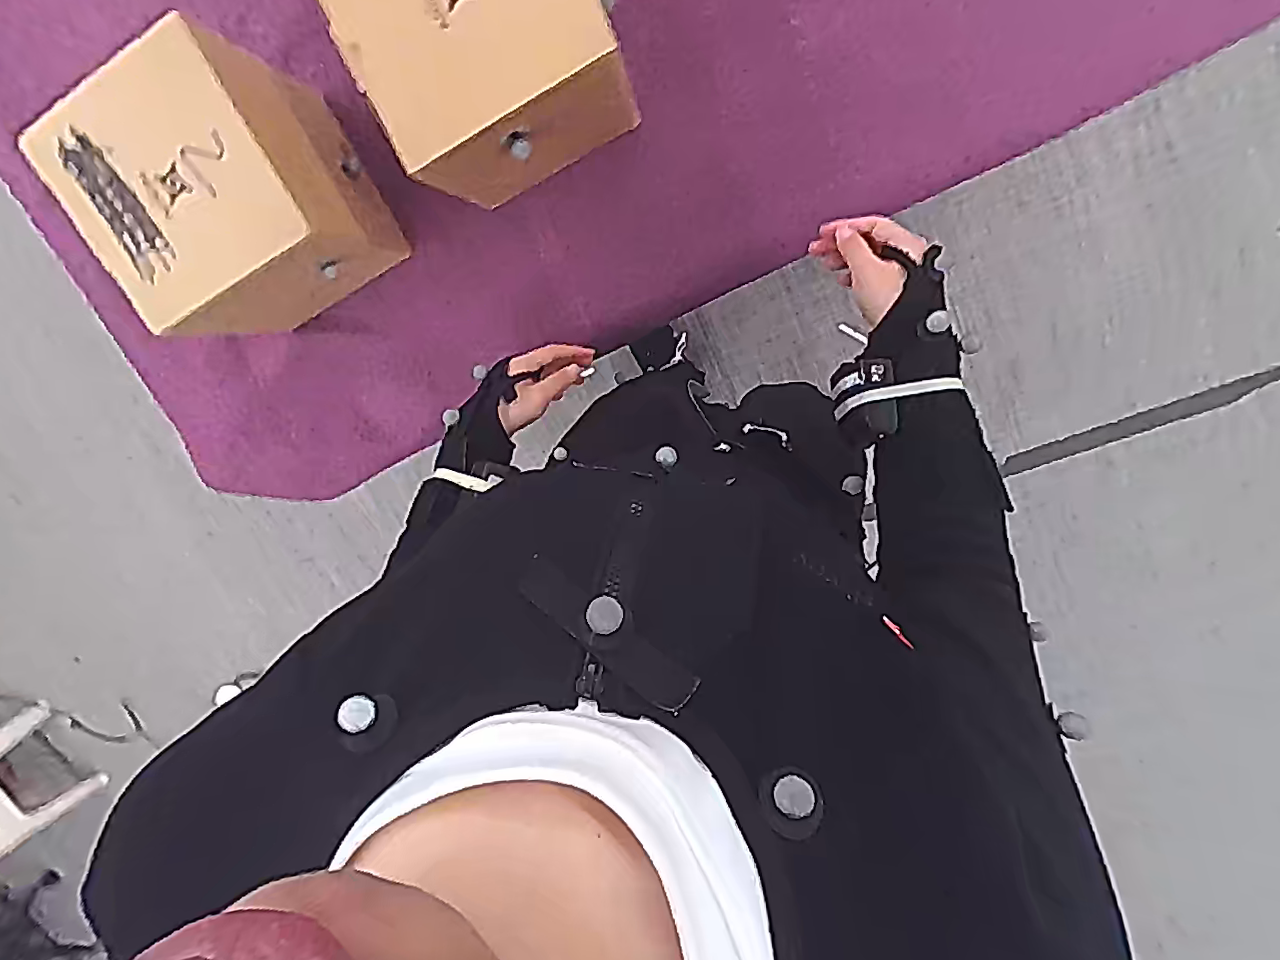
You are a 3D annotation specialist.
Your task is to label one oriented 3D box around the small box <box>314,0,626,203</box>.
[{"bbox_3d":[-0.121,-0.353,0.436,0.179,0.176,0.168,-22,105,14],"label":"small box"}]
